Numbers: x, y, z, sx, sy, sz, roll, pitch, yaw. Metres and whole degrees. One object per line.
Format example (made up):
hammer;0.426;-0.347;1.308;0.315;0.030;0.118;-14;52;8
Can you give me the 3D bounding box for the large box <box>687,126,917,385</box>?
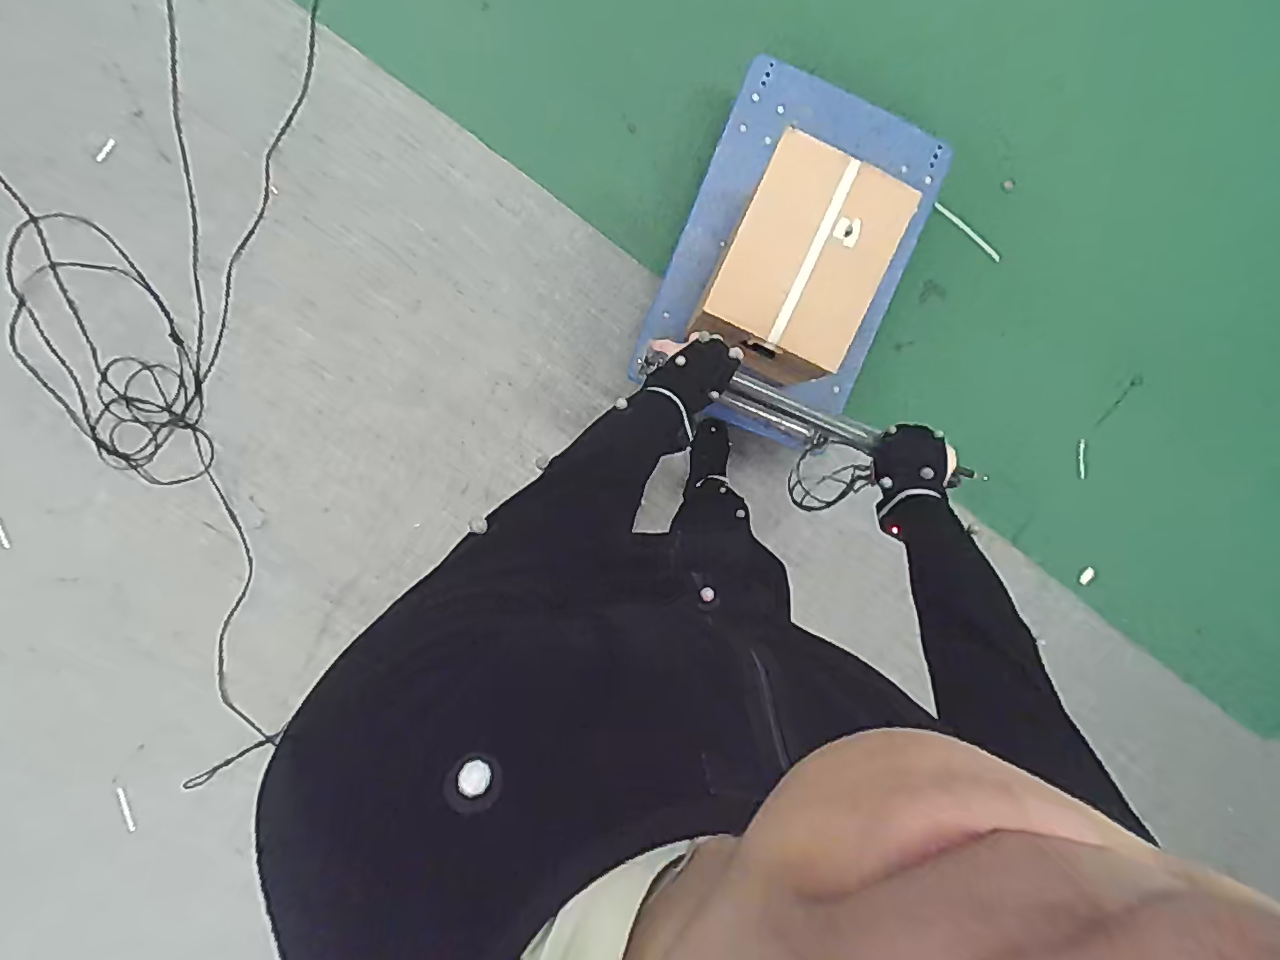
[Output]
large box;0.338;-0.473;1.239;0.320;0.320;0.408;25;93;-5
